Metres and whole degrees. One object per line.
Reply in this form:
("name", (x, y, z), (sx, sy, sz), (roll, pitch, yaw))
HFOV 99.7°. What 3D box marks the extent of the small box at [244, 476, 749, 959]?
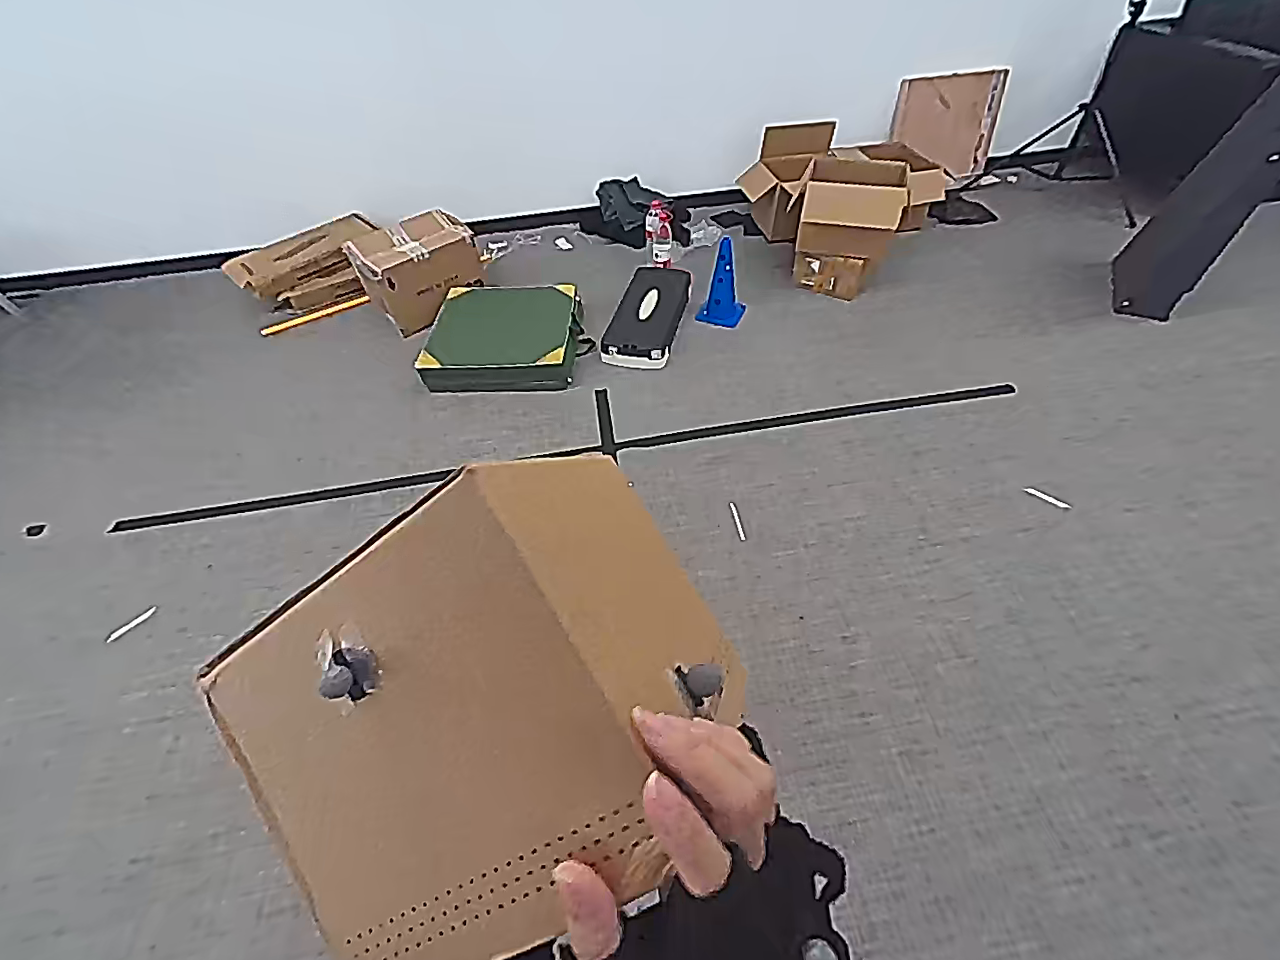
("small box", (-0.064, 0.117, 0.309), (0.179, 0.168, 0.176), (-35, 84, 16))
